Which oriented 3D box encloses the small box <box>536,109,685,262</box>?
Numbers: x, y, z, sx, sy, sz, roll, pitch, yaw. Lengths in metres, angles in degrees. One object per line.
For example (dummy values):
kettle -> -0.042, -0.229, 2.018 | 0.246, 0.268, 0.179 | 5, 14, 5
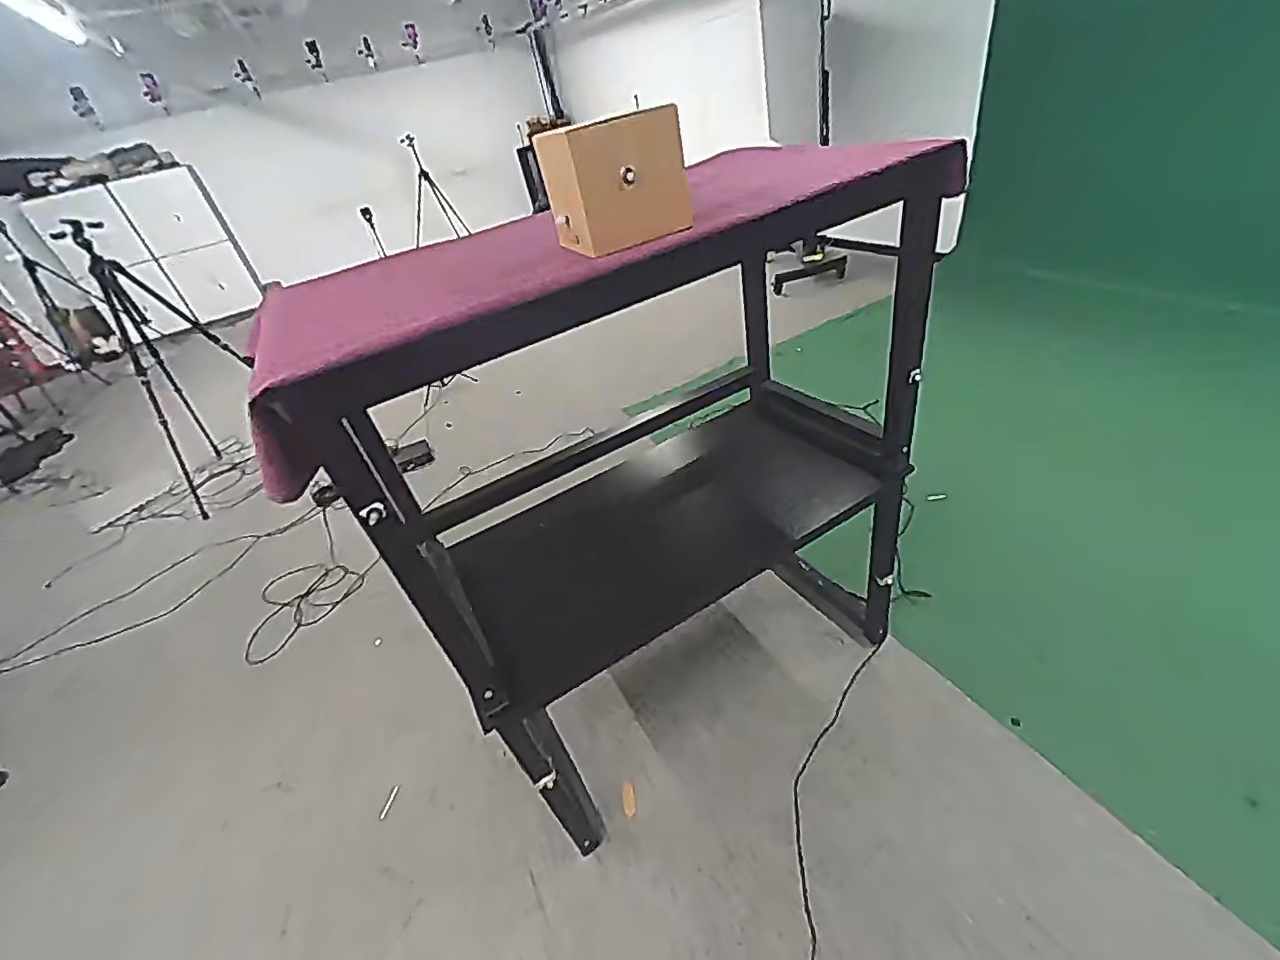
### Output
small box -> -0.041, -0.465, 0.858 | 0.179, 0.176, 0.168 | -25, 36, -13
